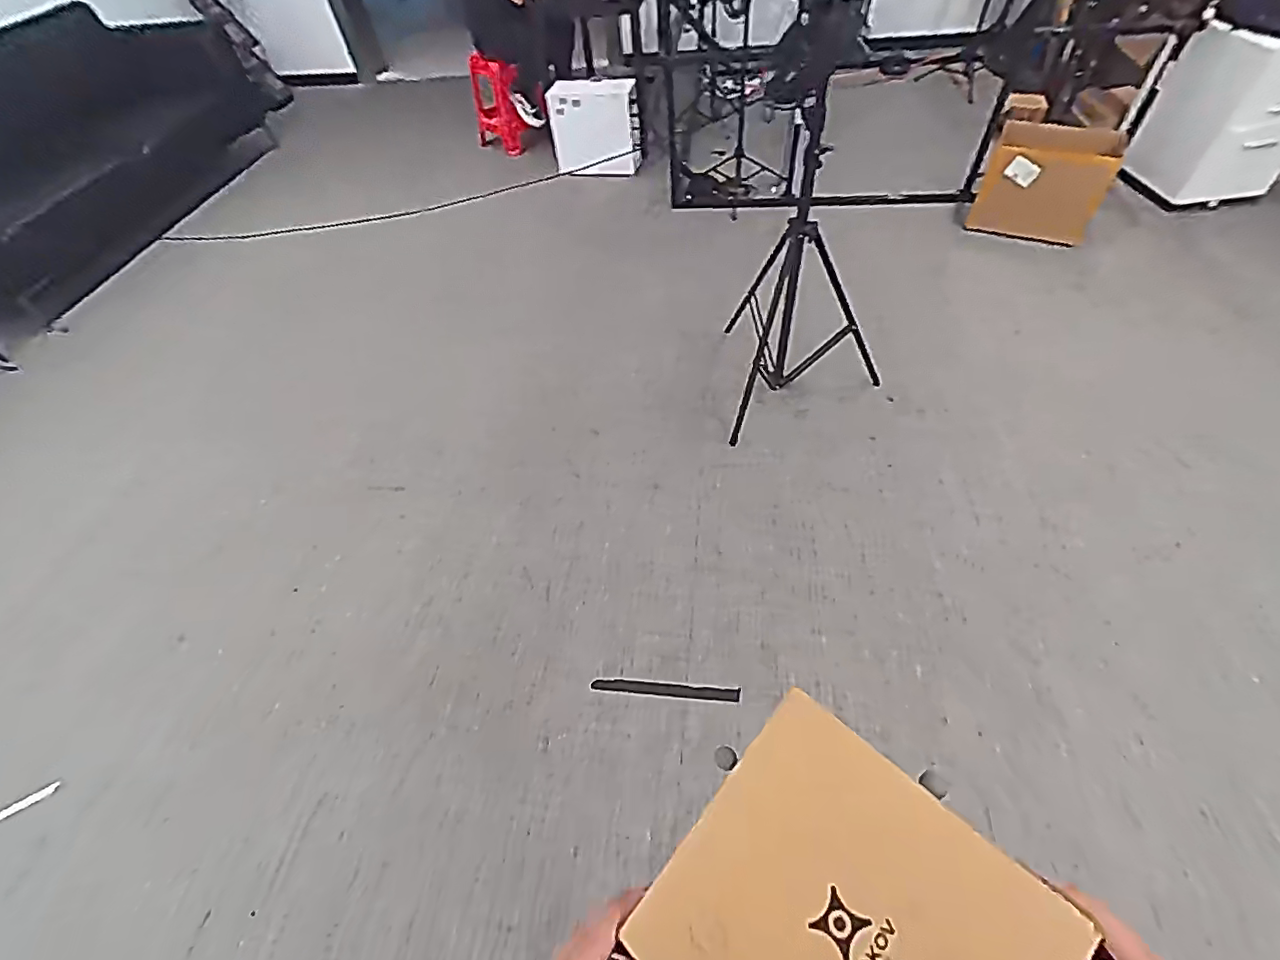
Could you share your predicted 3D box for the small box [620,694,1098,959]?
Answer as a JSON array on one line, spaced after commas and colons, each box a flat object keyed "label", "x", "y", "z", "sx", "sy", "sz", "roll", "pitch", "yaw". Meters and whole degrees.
[{"label": "small box", "x": 0.115, "y": 0.268, "z": 0.341, "sx": 0.179, "sy": 0.176, "sz": 0.168, "roll": 35, "pitch": 73, "yaw": 23}]
